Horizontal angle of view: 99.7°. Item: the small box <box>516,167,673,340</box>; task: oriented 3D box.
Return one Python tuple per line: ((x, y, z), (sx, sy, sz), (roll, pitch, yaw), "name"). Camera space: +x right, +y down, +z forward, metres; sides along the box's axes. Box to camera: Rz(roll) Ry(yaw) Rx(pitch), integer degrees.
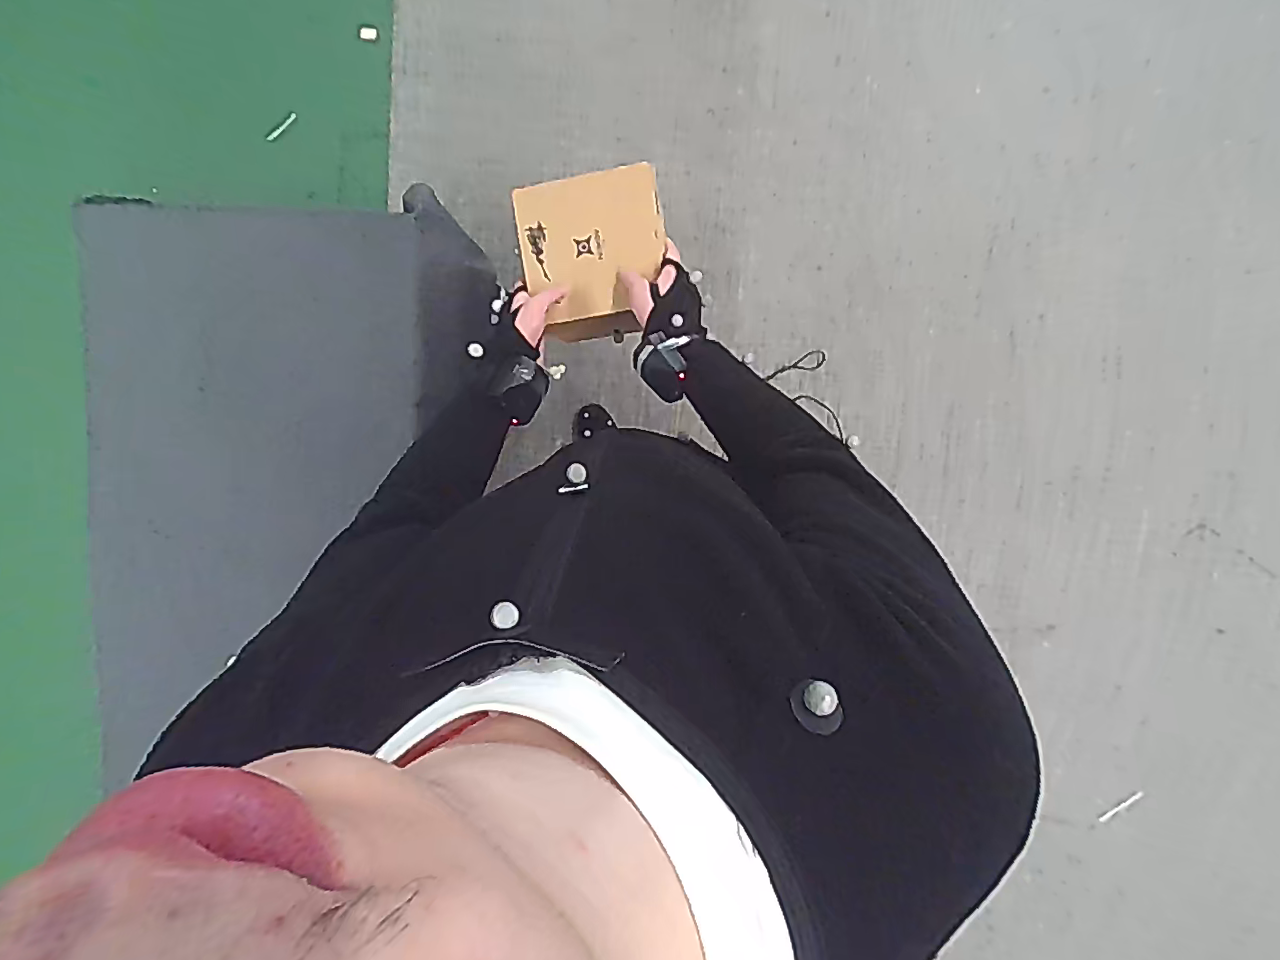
((-0.049, -0.292, 0.734), (0.179, 0.176, 0.168), (-7, 97, 6), "small box")
